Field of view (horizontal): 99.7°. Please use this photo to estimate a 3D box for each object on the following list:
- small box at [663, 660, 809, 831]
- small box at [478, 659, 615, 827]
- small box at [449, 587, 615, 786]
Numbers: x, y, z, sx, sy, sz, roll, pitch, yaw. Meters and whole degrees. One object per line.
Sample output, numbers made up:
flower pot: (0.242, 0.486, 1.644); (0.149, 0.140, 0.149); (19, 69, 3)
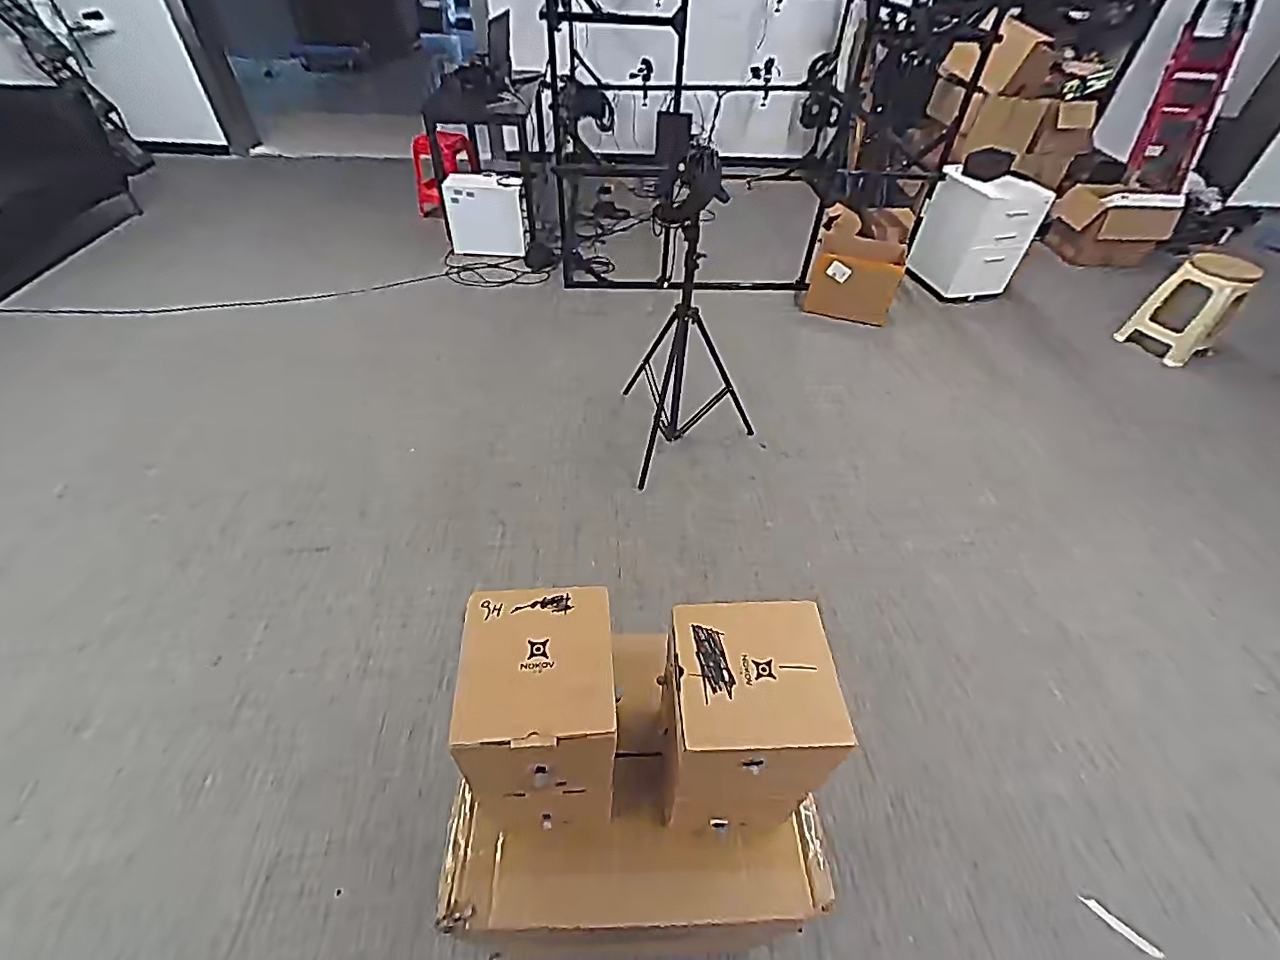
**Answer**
small box: (0.122, 0.376, 0.768); (0.168, 0.176, 0.179); (-2, 47, -2)
small box: (-0.122, 0.367, 0.764); (0.168, 0.176, 0.179); (-1, 46, -5)
small box: (-0.116, 0.250, 0.648); (0.168, 0.176, 0.179); (-2, 46, -5)
